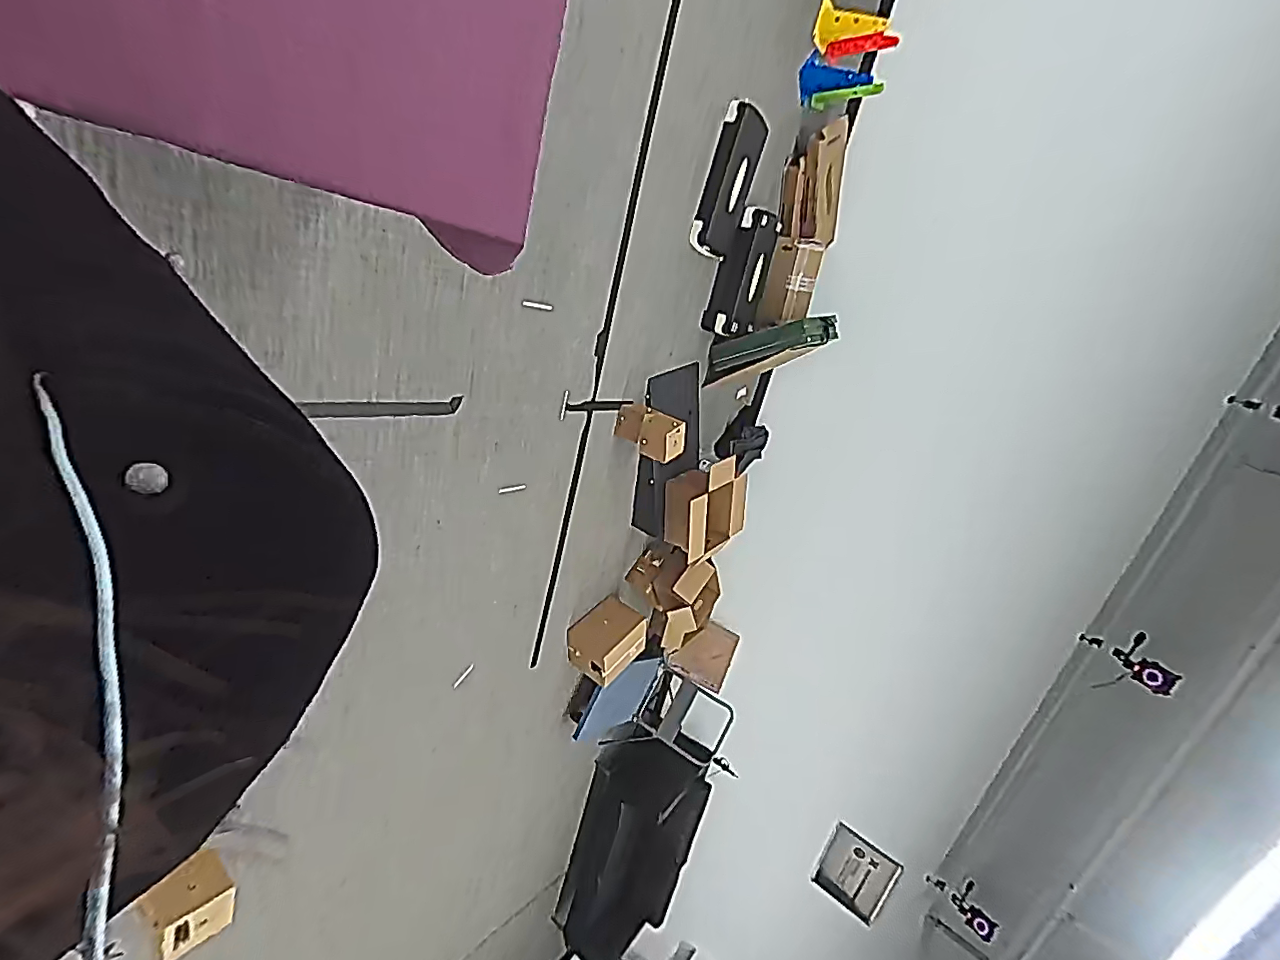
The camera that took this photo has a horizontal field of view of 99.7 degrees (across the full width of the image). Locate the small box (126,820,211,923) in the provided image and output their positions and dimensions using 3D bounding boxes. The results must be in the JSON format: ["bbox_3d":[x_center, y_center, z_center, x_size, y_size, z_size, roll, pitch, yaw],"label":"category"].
[{"bbox_3d":[-1.498,1.227,1.717,0.168,0.176,0.179,-12,123,-55],"label":"small box"}]
